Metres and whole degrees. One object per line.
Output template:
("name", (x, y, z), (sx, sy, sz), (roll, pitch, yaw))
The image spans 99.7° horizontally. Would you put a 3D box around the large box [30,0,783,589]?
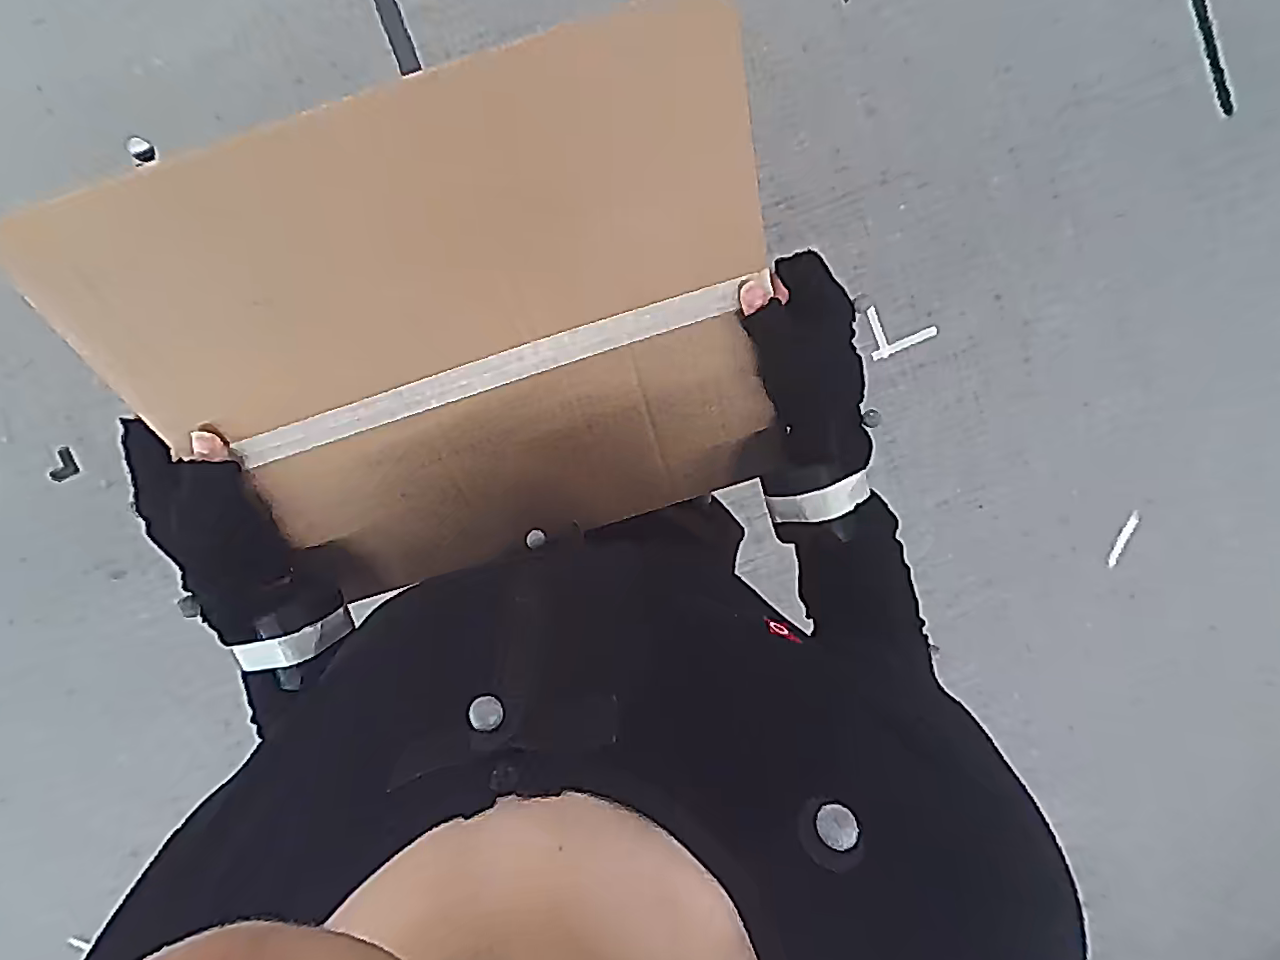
("large box", (-0.130, -0.164, 0.491), (0.408, 0.320, 0.320), (-17, 128, 2))
